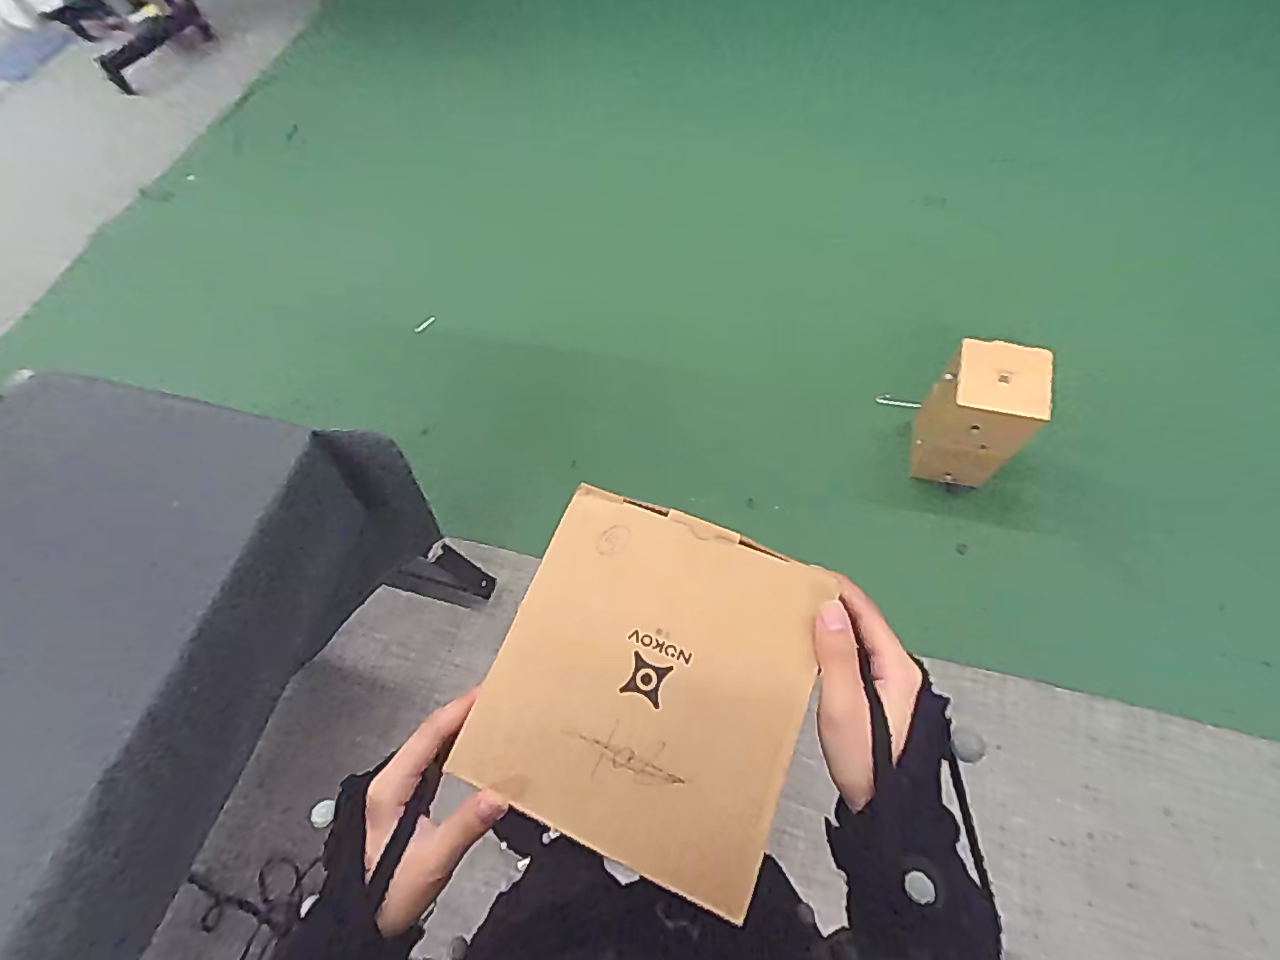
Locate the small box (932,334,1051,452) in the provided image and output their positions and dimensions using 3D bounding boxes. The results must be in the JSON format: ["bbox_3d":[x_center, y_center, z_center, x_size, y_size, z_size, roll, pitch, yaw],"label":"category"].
[{"bbox_3d":[0.742,-0.181,1.155,0.168,0.176,0.179,13,66,15],"label":"small box"}]
